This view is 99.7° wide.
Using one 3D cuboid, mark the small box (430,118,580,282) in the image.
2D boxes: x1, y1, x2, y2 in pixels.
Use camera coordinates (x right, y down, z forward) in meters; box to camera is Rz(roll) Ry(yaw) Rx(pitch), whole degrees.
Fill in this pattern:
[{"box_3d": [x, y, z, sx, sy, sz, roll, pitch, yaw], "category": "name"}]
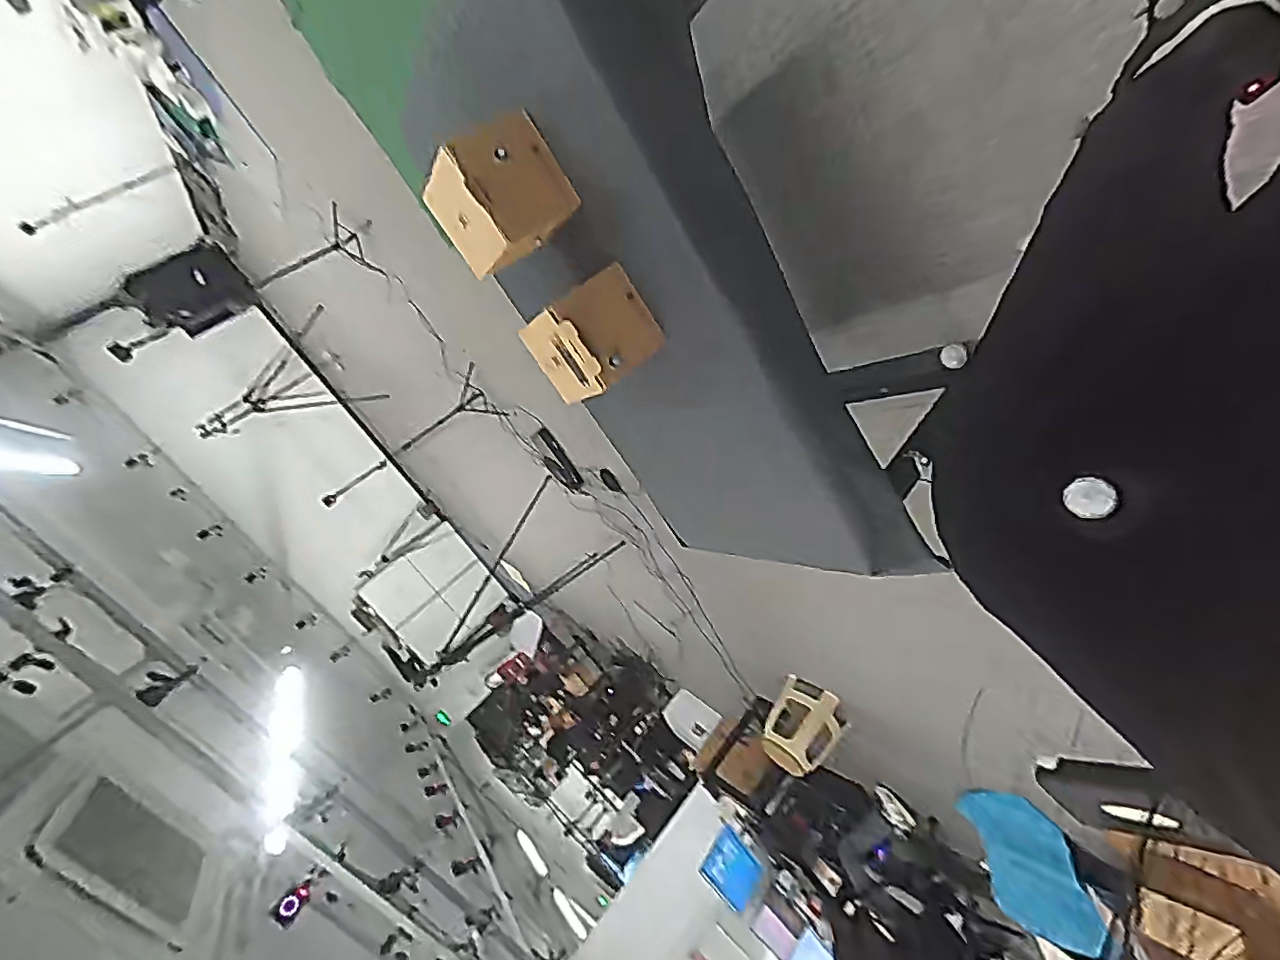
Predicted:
[{"box_3d": [-0.230, -0.481, 0.938, 0.168, 0.176, 0.179, 56, 155, -16], "category": "small box"}]
